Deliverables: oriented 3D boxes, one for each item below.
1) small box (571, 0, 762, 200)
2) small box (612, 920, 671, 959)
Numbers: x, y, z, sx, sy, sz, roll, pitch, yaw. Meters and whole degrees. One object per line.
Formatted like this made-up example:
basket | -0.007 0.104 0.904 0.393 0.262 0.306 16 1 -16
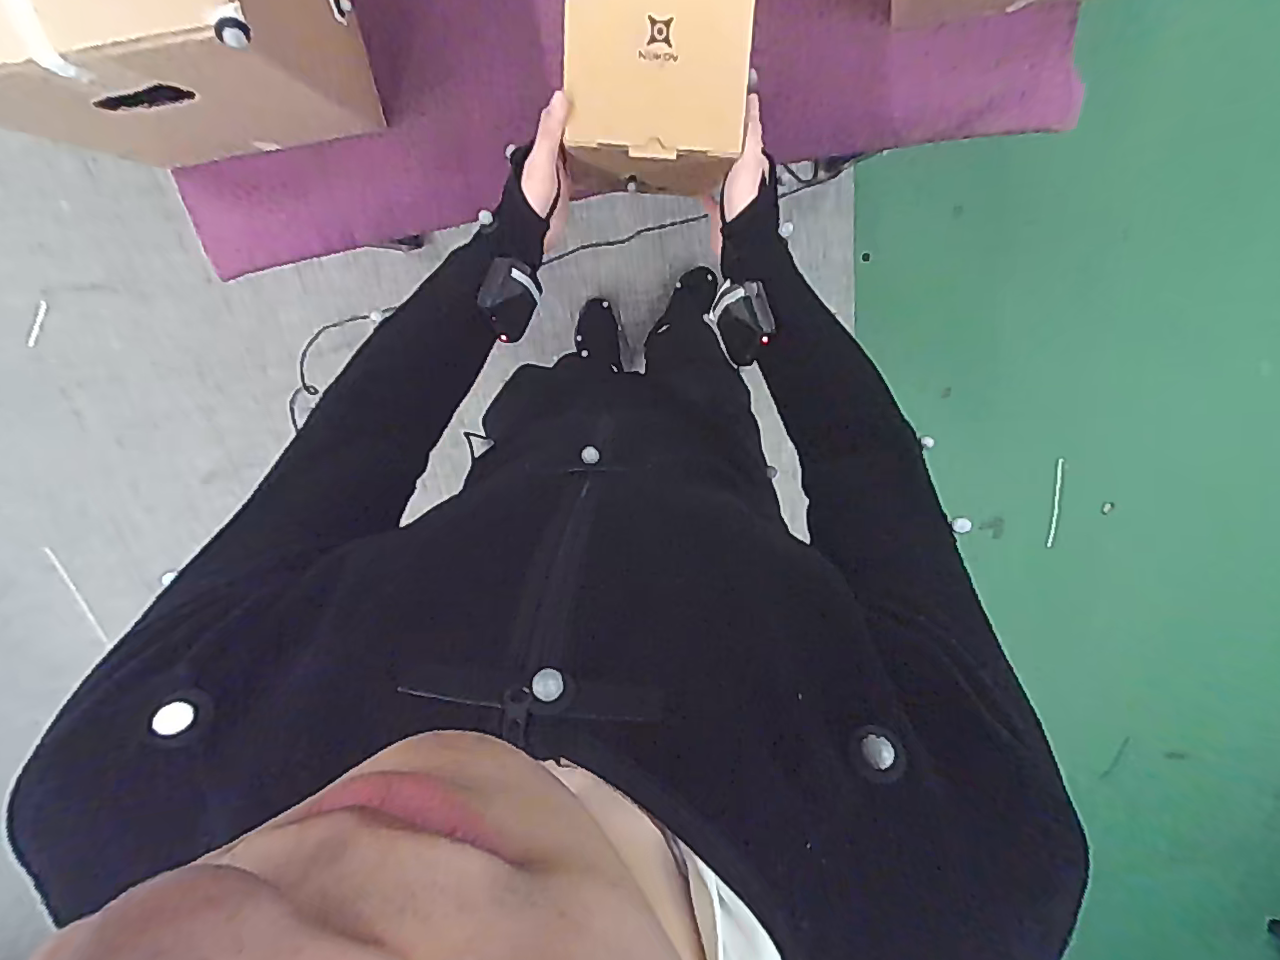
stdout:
small box | 0.015 -0.402 0.547 0.168 0.176 0.179 1 107 -5
small box | 0.009 1.504 1.676 0.168 0.176 0.179 -11 111 1
